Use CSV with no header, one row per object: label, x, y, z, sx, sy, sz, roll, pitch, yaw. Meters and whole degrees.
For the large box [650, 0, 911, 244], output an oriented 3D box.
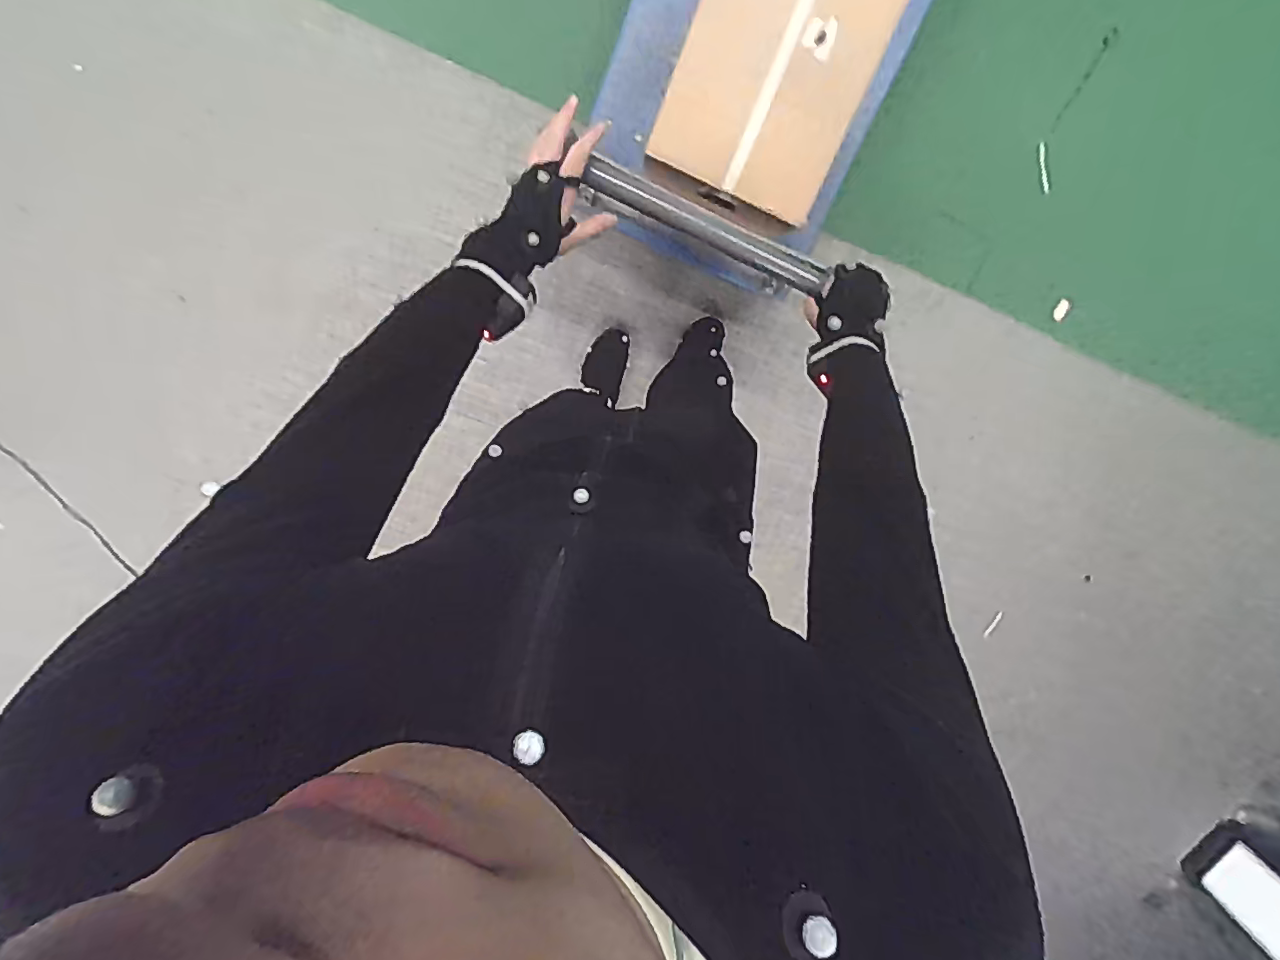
large box,0.232,-0.731,1.052,0.320,0.320,0.408,22,107,-9
